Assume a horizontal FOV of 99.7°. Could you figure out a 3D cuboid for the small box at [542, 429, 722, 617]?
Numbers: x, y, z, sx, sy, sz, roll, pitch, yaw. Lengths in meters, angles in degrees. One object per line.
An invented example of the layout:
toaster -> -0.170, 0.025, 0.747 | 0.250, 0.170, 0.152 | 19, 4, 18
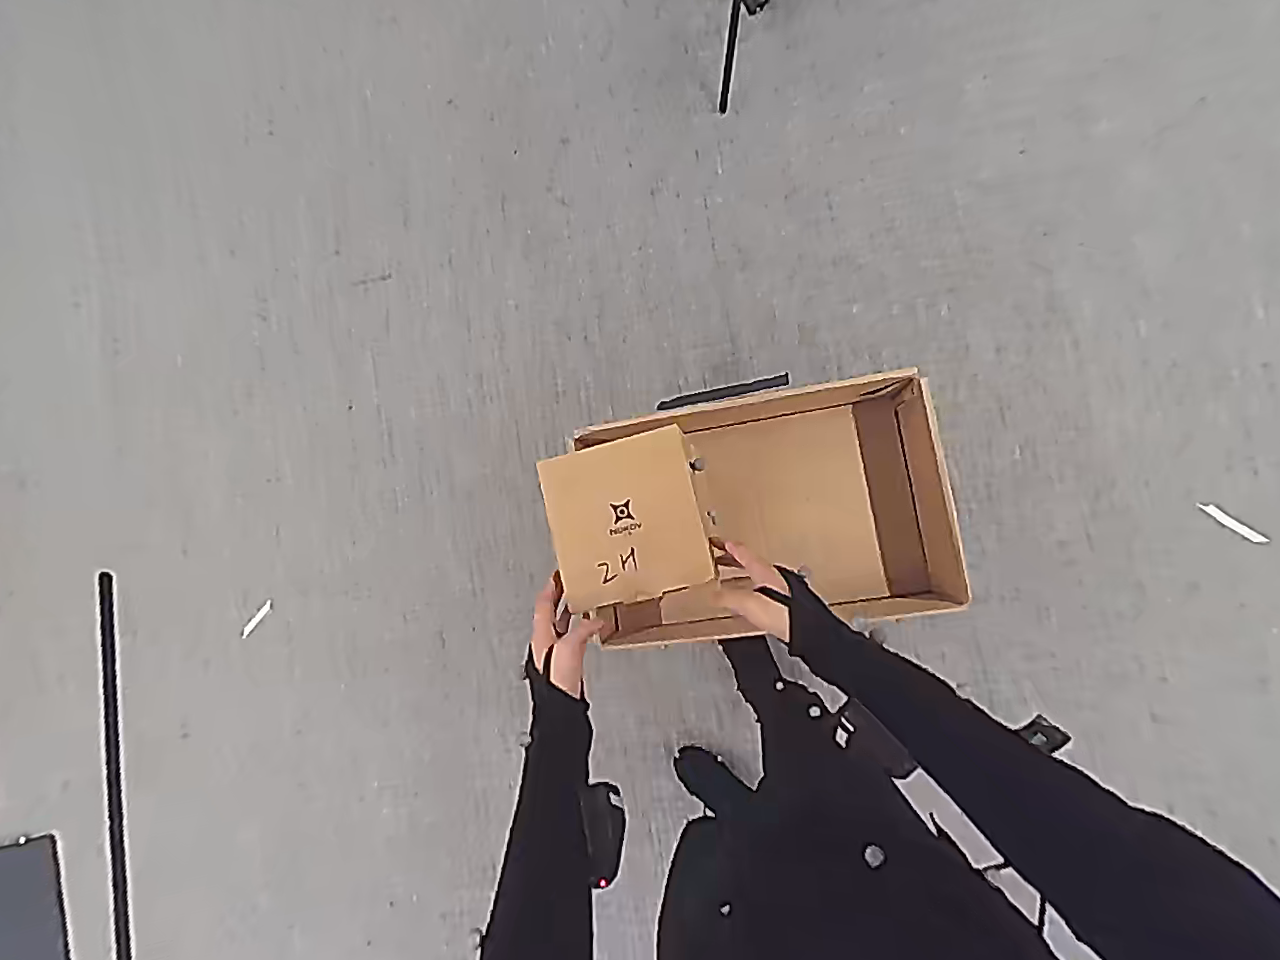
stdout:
small box -> -0.001, 0.054, 0.658 | 0.168, 0.176, 0.179 | -15, 83, 8
